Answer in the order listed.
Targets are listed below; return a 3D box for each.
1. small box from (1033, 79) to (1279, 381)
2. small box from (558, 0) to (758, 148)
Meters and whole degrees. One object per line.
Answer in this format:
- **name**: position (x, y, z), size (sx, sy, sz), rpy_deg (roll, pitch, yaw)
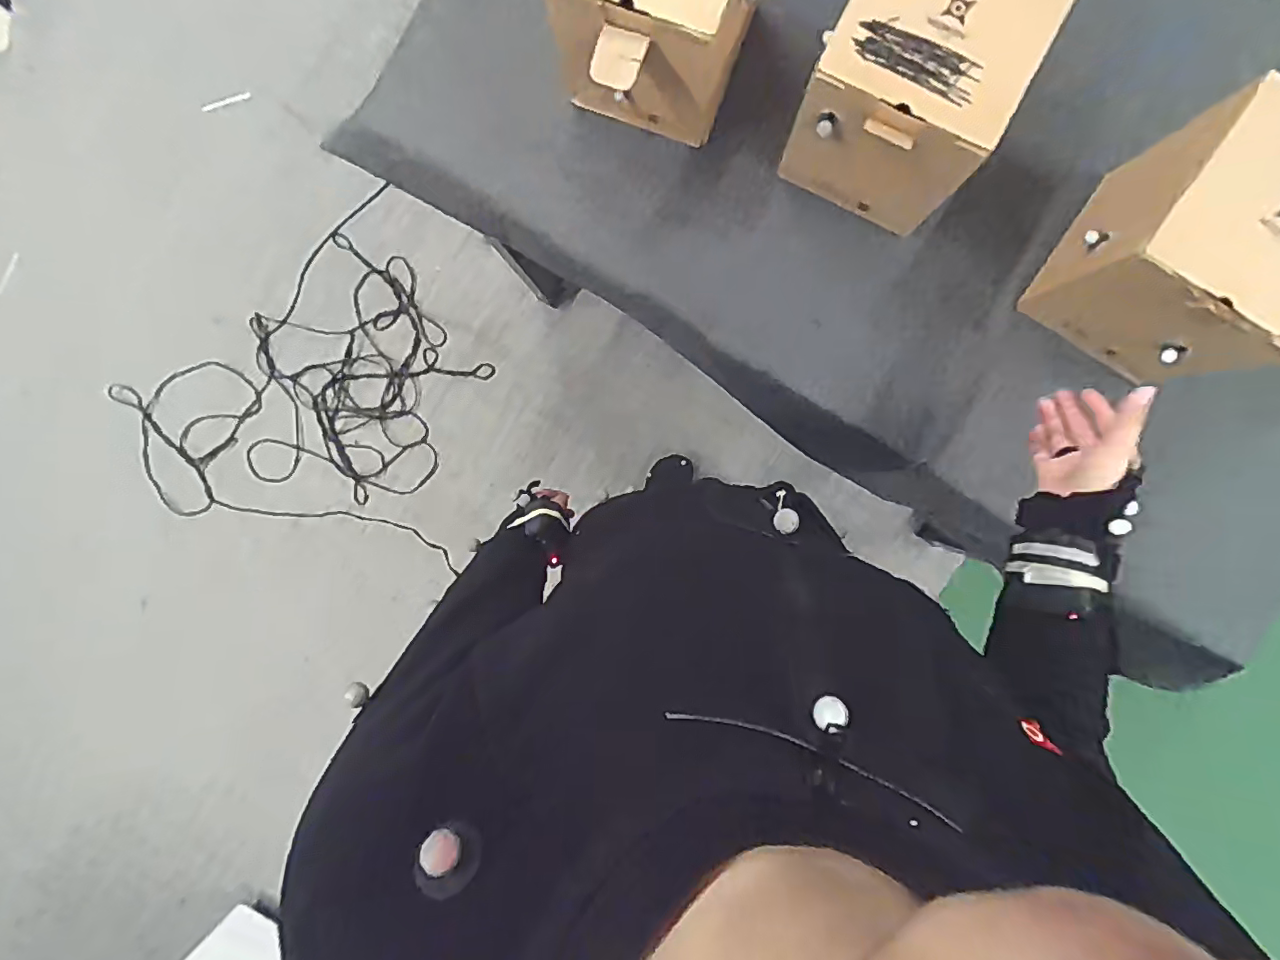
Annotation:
- **small box**: position (0.536, -0.216, 0.524), size (0.168, 0.176, 0.179), rpy_deg (33, 92, 0)
- **small box**: position (0.026, -0.486, 0.543), size (0.168, 0.176, 0.179), rpy_deg (21, 93, 2)
